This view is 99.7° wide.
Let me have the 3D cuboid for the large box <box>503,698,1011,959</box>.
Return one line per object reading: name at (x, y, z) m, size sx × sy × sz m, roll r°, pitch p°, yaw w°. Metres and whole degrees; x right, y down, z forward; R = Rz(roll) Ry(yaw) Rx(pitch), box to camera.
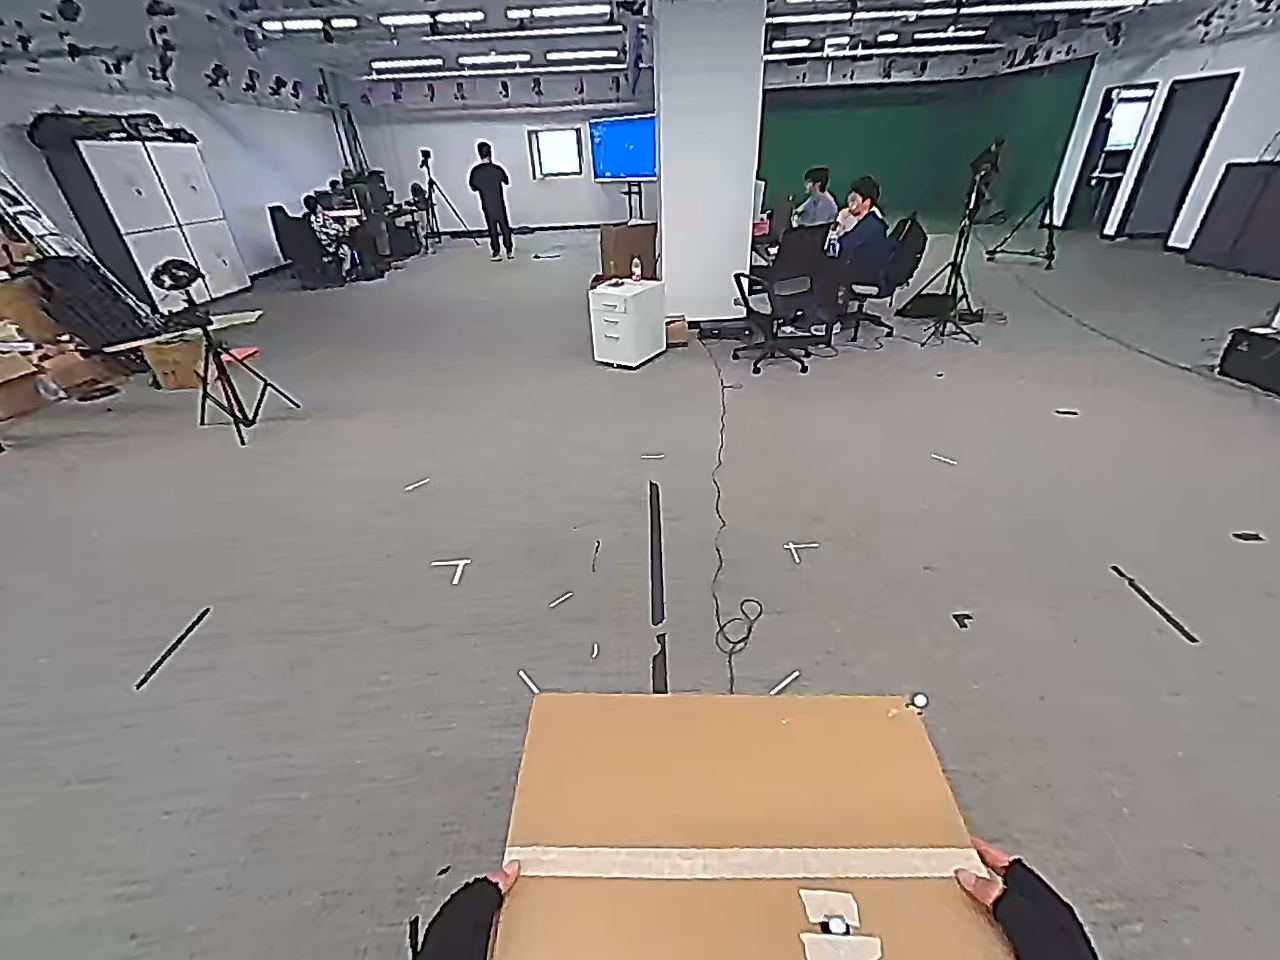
large box at (0.090, 0.451, 0.561) m, size 0.408 × 0.320 × 0.320 m, roll 0°, pitch 38°, yaw 1°
